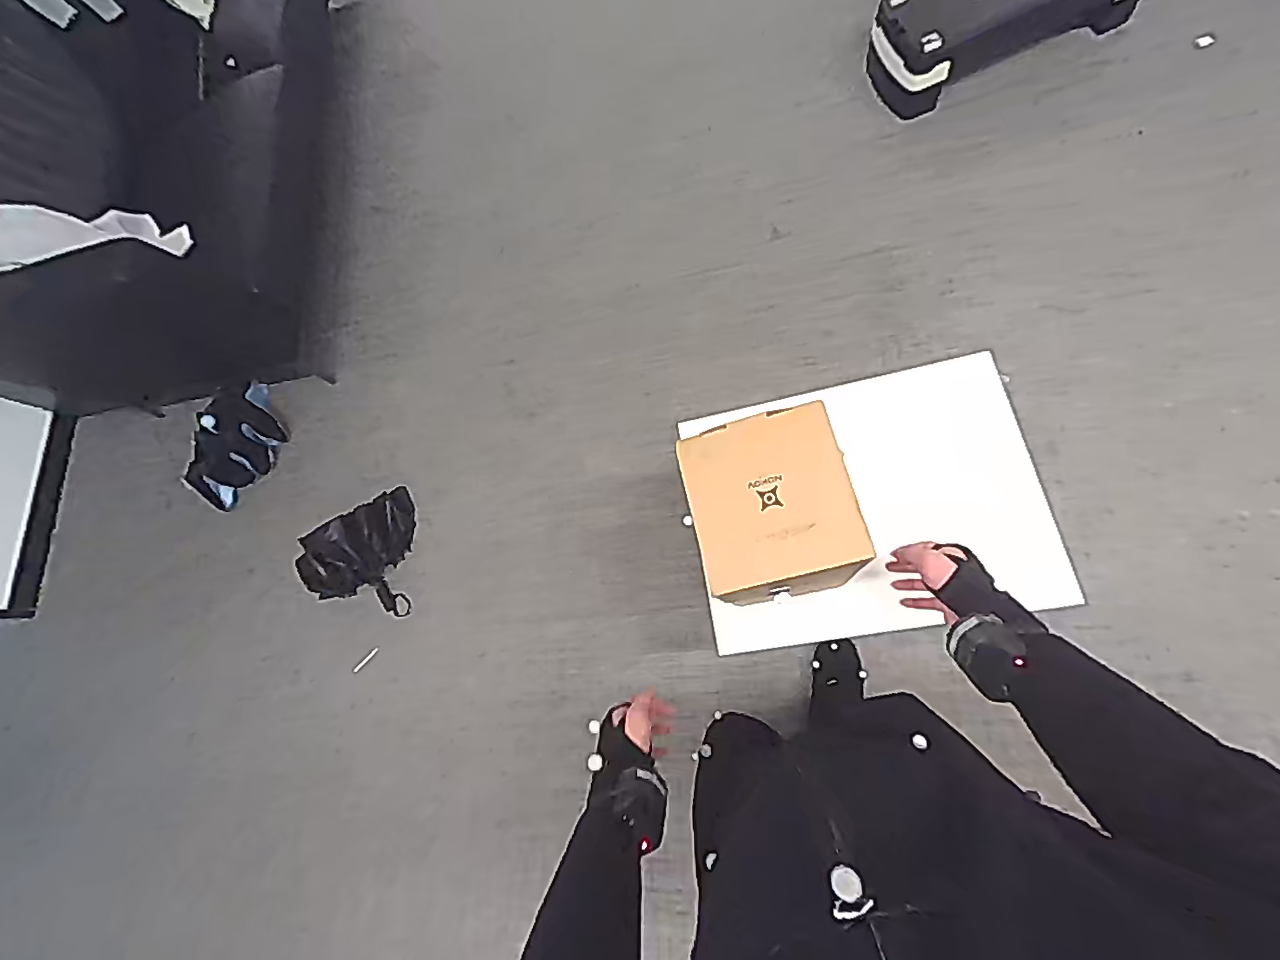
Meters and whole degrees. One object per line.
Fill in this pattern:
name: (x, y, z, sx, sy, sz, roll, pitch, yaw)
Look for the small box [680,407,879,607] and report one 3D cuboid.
small box: (0.157, 0.043, 0.631, 0.168, 0.176, 0.179, -17, 71, 12)
